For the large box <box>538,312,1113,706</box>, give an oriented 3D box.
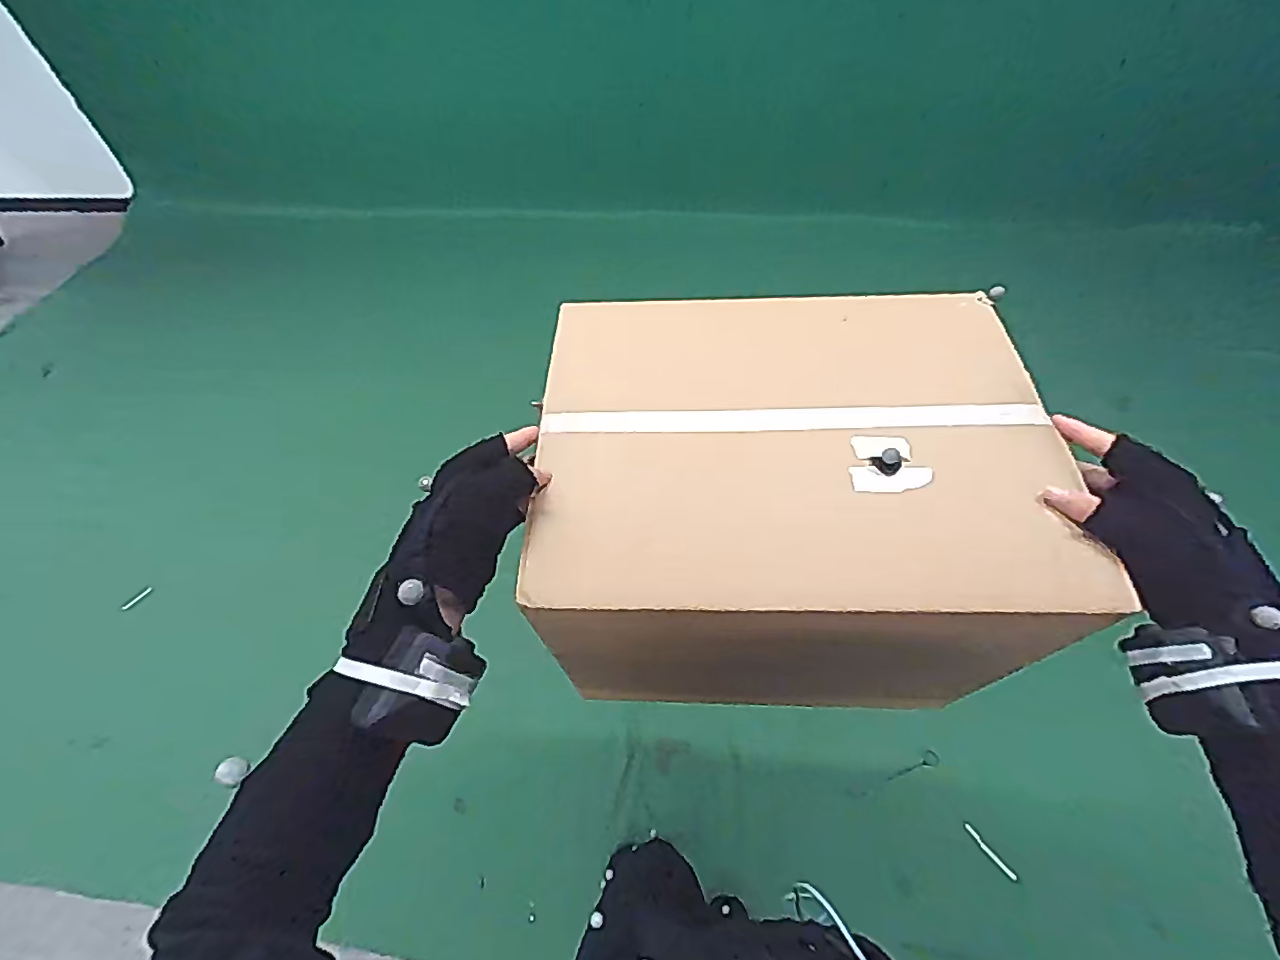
[{"bbox_3d":[0.130,0.046,0.578,0.408,0.320,0.320,0,56,3],"label":"large box"}]
